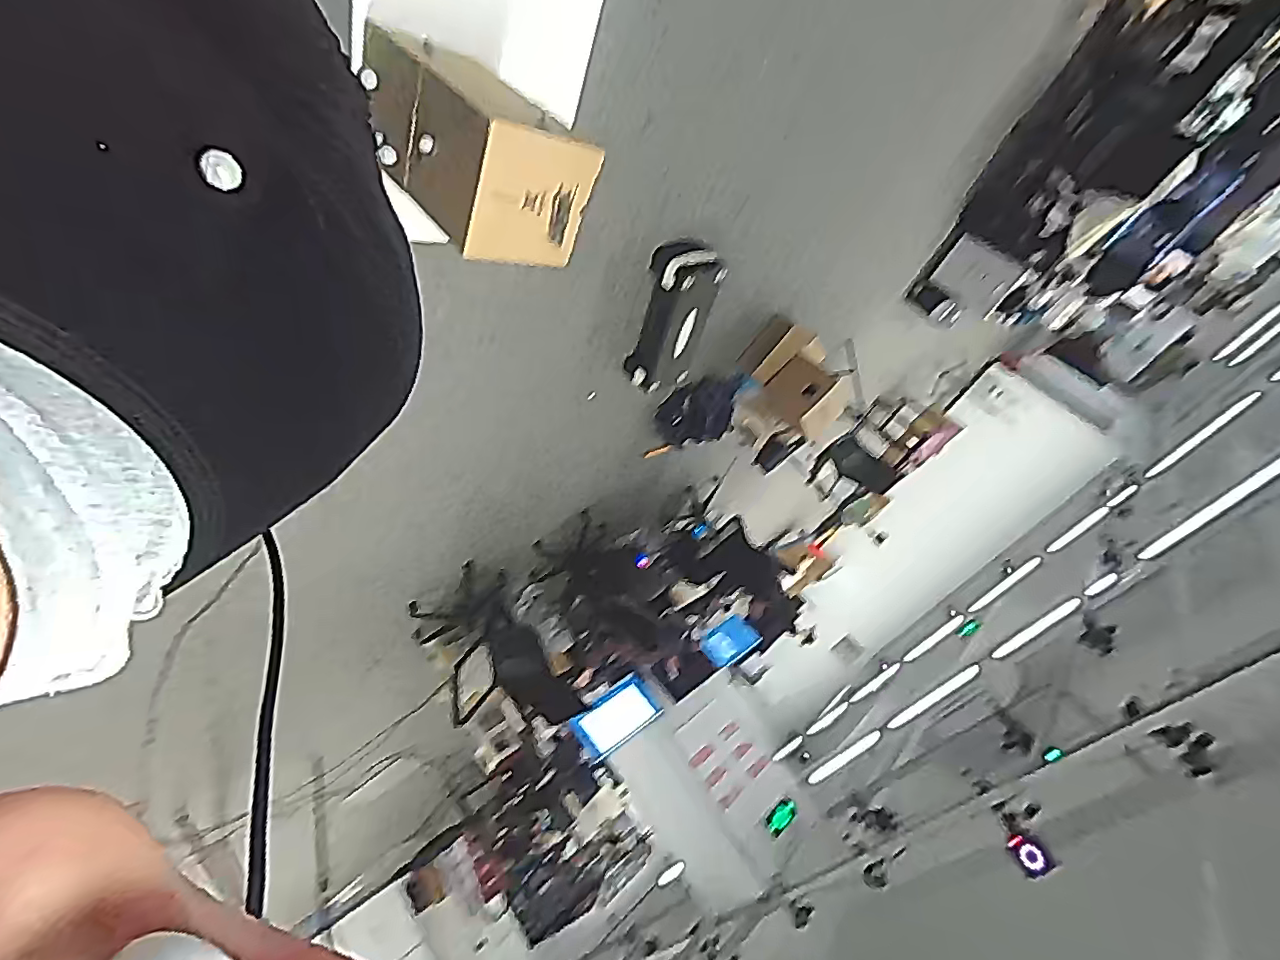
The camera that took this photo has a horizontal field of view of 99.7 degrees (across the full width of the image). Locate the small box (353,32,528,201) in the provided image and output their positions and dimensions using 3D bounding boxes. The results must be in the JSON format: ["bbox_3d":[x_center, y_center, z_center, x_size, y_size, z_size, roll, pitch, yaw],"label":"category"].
[{"bbox_3d":[-0.302,-0.521,0.803,0.179,0.176,0.168,-20,149,-46],"label":"small box"}]

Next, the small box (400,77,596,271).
[{"bbox_3d":[-0.198,-0.410,0.741,0.179,0.176,0.168,-17,145,-45],"label":"small box"}]
